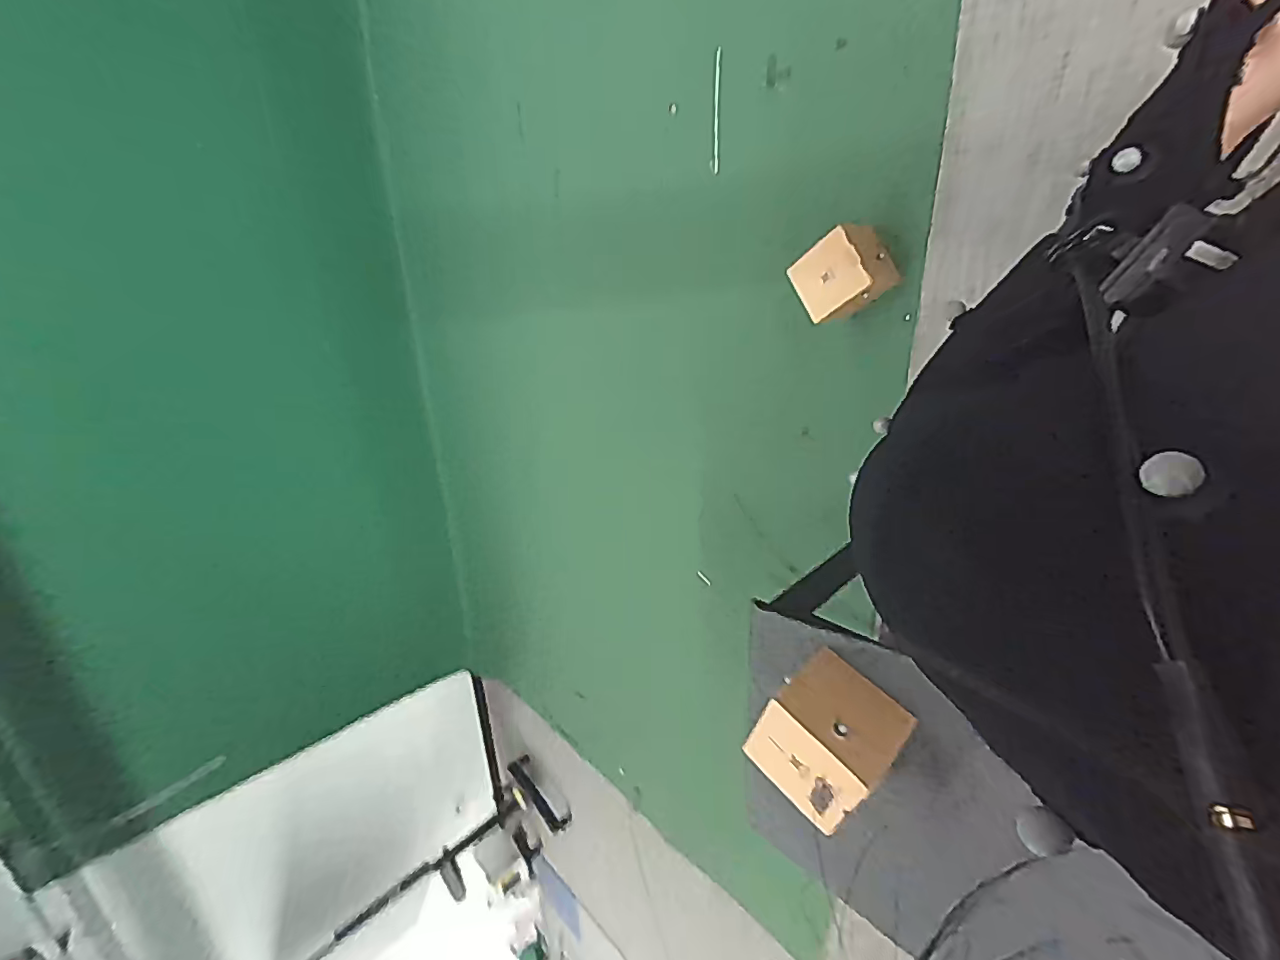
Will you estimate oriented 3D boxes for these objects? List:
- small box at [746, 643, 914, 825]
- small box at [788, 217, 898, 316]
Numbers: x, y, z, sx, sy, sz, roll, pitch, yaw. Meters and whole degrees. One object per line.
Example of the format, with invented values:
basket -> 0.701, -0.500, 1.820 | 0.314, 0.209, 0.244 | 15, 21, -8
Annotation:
small box -> 0.313, 0.408, 0.891 | 0.179, 0.176, 0.168 | 38, 133, 30
small box -> 0.524, -0.545, 1.393 | 0.179, 0.176, 0.168 | -33, 81, 48
